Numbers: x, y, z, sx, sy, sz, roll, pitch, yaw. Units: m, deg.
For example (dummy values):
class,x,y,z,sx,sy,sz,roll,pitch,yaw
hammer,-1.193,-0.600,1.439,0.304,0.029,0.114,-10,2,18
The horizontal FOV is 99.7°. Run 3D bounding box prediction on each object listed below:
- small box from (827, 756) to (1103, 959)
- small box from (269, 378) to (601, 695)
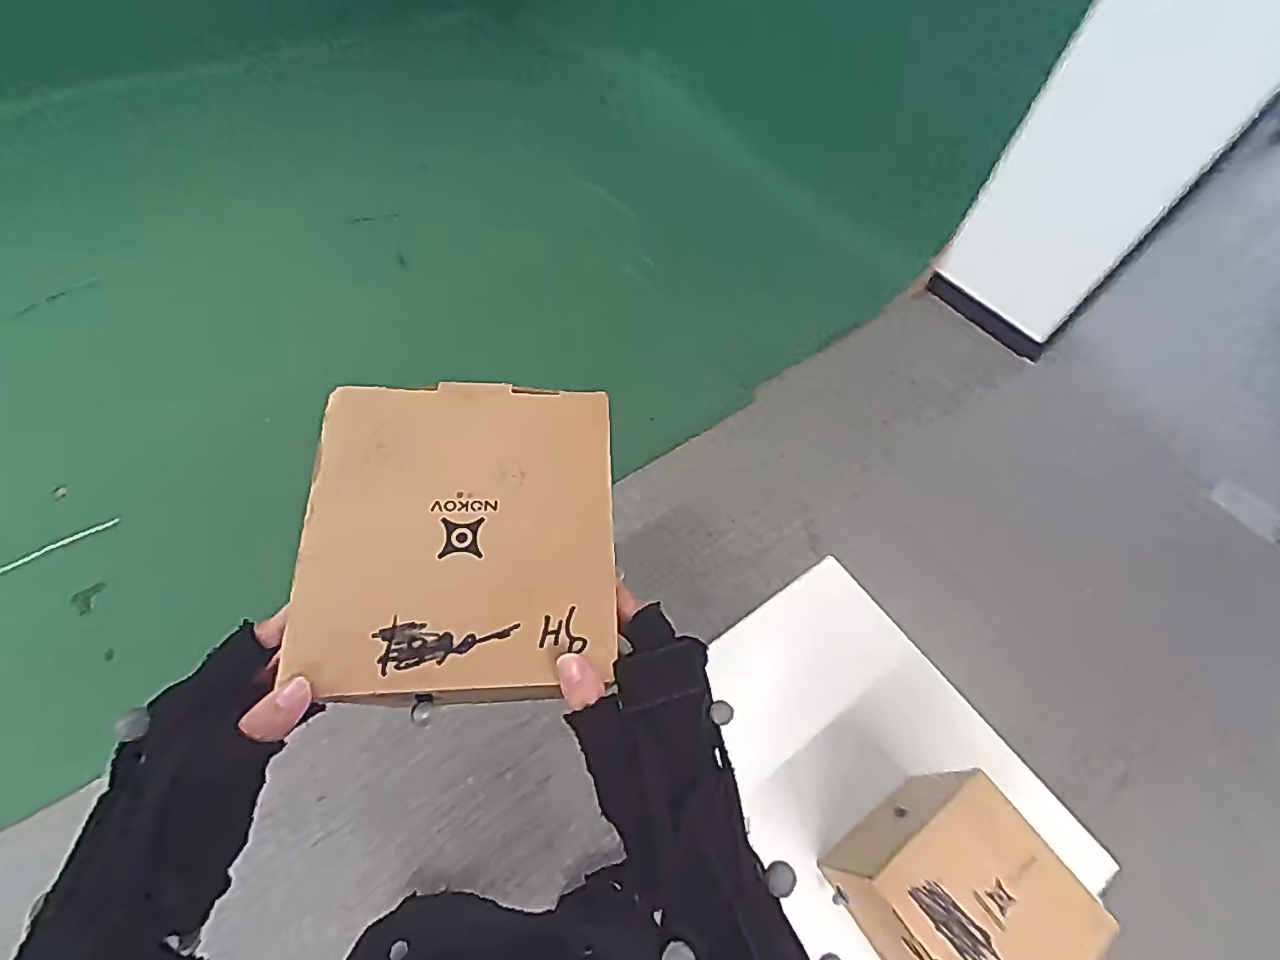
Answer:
class,x,y,z,sx,sy,sz,roll,pitch,yaw
small box,0.334,0.441,0.599,0.179,0.176,0.168,-29,64,-19
small box,-0.117,0.049,0.381,0.168,0.176,0.179,-1,66,-8
